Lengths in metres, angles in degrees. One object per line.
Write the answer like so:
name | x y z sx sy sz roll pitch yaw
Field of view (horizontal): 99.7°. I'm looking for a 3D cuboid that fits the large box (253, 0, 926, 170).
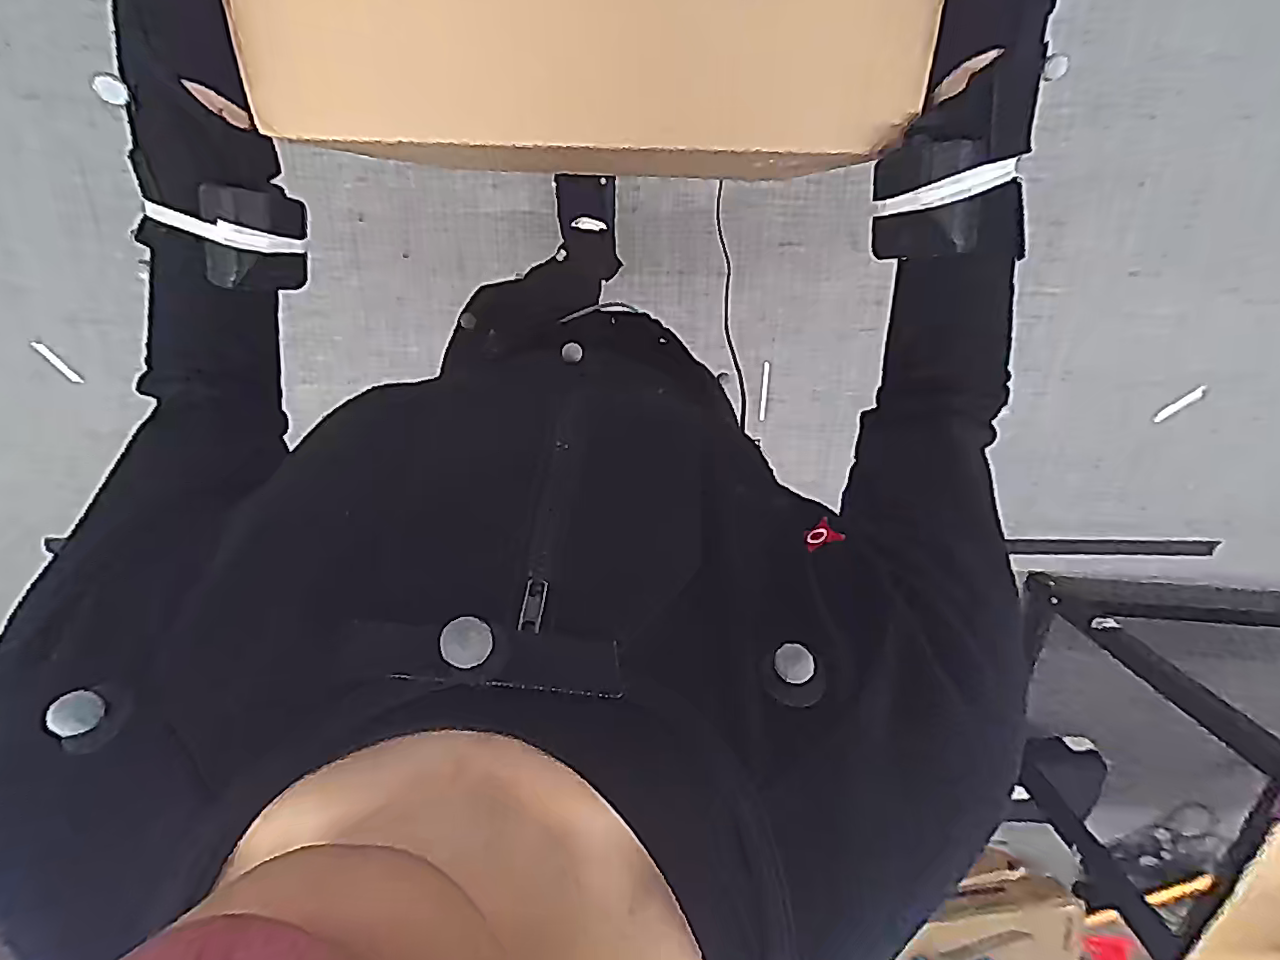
large box | -0.028 -0.424 0.412 0.408 0.320 0.320 2 118 0
